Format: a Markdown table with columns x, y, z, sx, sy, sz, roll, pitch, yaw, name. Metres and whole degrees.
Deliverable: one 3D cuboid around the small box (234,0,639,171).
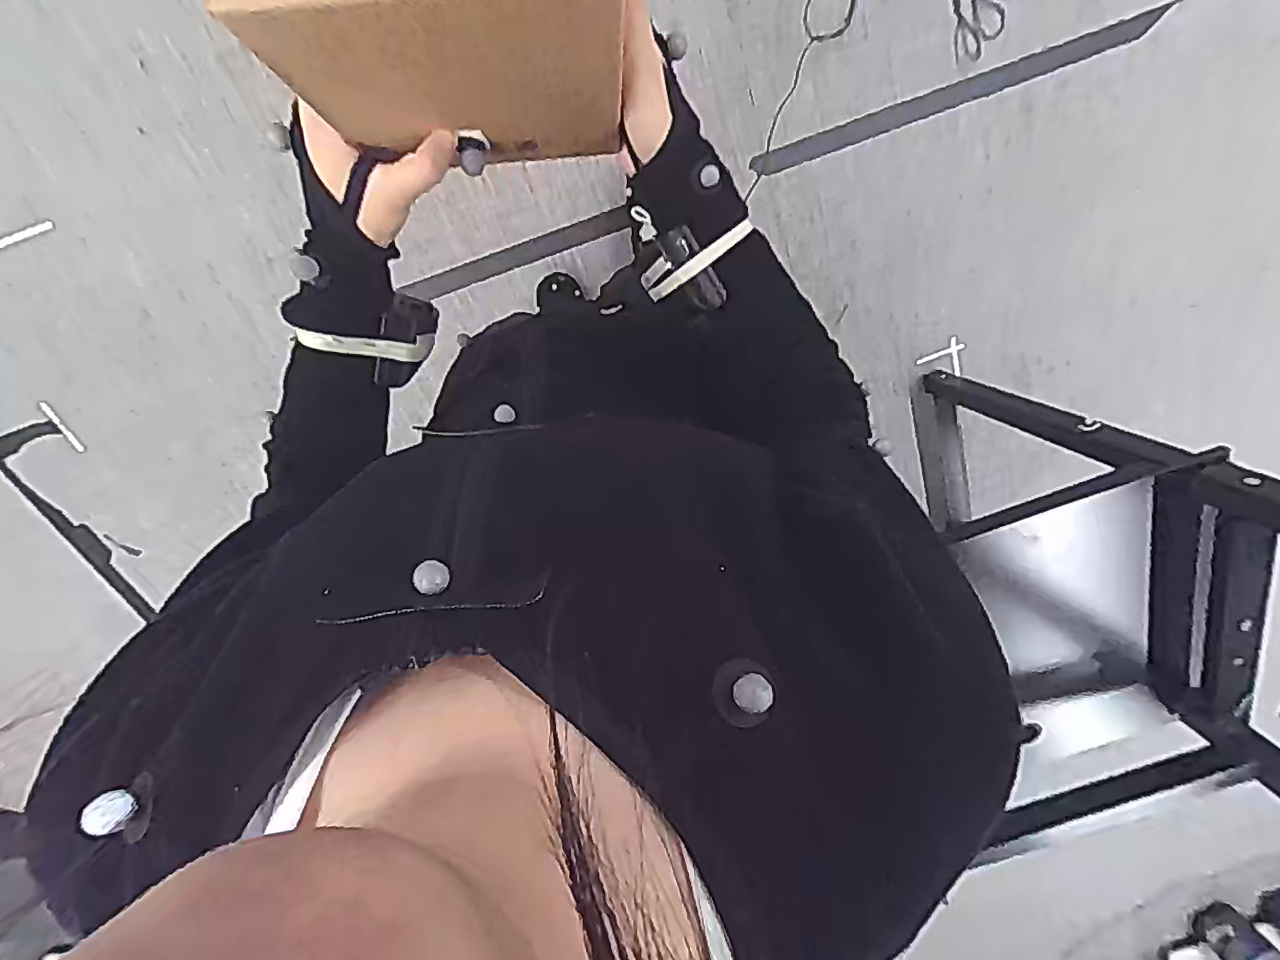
| x | y | z | sx | sy | sz | roll | pitch | yaw | name |
| --- | --- | --- | --- | --- | --- | --- | --- | --- | --- |
| -0.094 | -0.288 | 0.275 | 0.168 | 0.176 | 0.179 | -7 | 100 | -1 | small box |
